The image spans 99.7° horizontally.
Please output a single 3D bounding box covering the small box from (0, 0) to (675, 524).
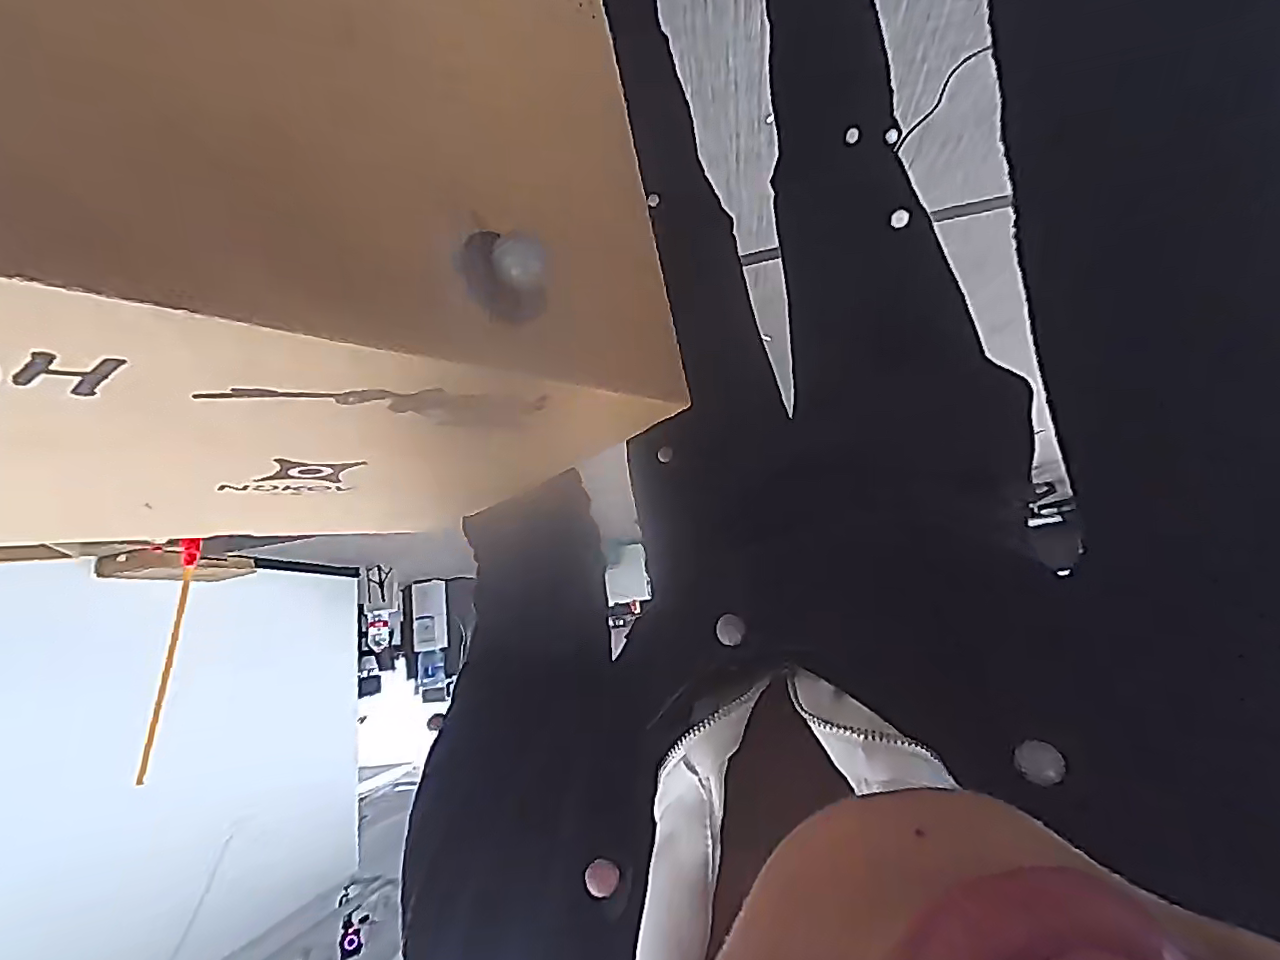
[{"bbox_3d":[-0.115,-0.086,0.176,0.179,0.176,0.168,-19,167,40],"label":"small box"}]
